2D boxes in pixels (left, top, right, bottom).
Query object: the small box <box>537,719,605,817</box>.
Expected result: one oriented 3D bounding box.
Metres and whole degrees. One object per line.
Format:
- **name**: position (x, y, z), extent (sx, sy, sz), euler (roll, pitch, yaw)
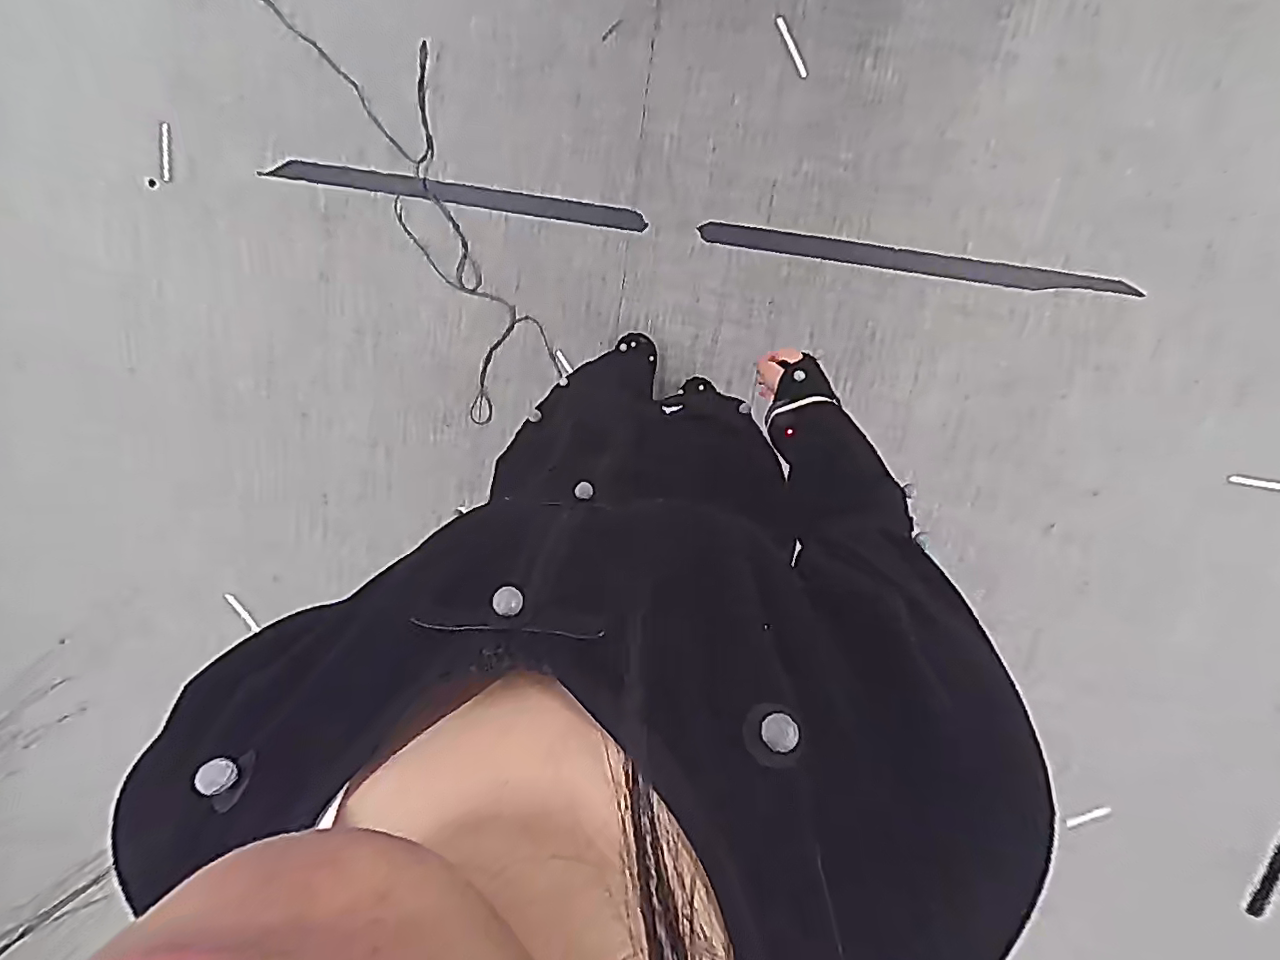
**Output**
- **small box**: position (-0.193, 0.817, 1.543), extent (0.168, 0.176, 0.179), euler (3, 102, 4)
